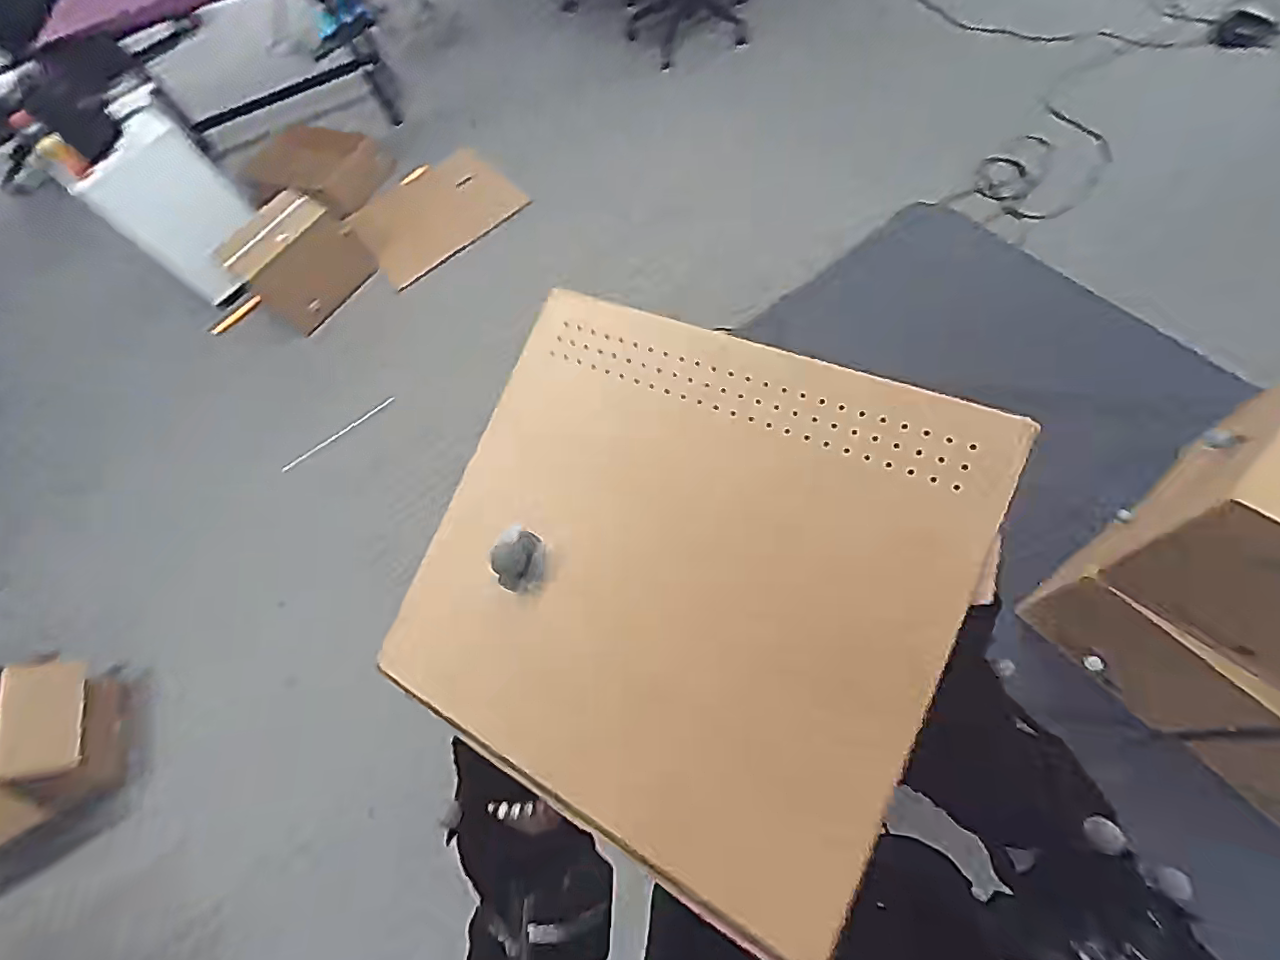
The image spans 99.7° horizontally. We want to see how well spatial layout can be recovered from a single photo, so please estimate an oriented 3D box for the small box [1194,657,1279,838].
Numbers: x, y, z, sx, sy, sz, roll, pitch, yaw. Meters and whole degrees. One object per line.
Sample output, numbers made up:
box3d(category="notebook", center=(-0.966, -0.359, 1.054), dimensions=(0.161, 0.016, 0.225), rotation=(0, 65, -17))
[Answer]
box3d(category="small box", center=(0.651, 0.242, 0.457), dimensions=(0.179, 0.176, 0.168), rotation=(-35, 61, -7))
